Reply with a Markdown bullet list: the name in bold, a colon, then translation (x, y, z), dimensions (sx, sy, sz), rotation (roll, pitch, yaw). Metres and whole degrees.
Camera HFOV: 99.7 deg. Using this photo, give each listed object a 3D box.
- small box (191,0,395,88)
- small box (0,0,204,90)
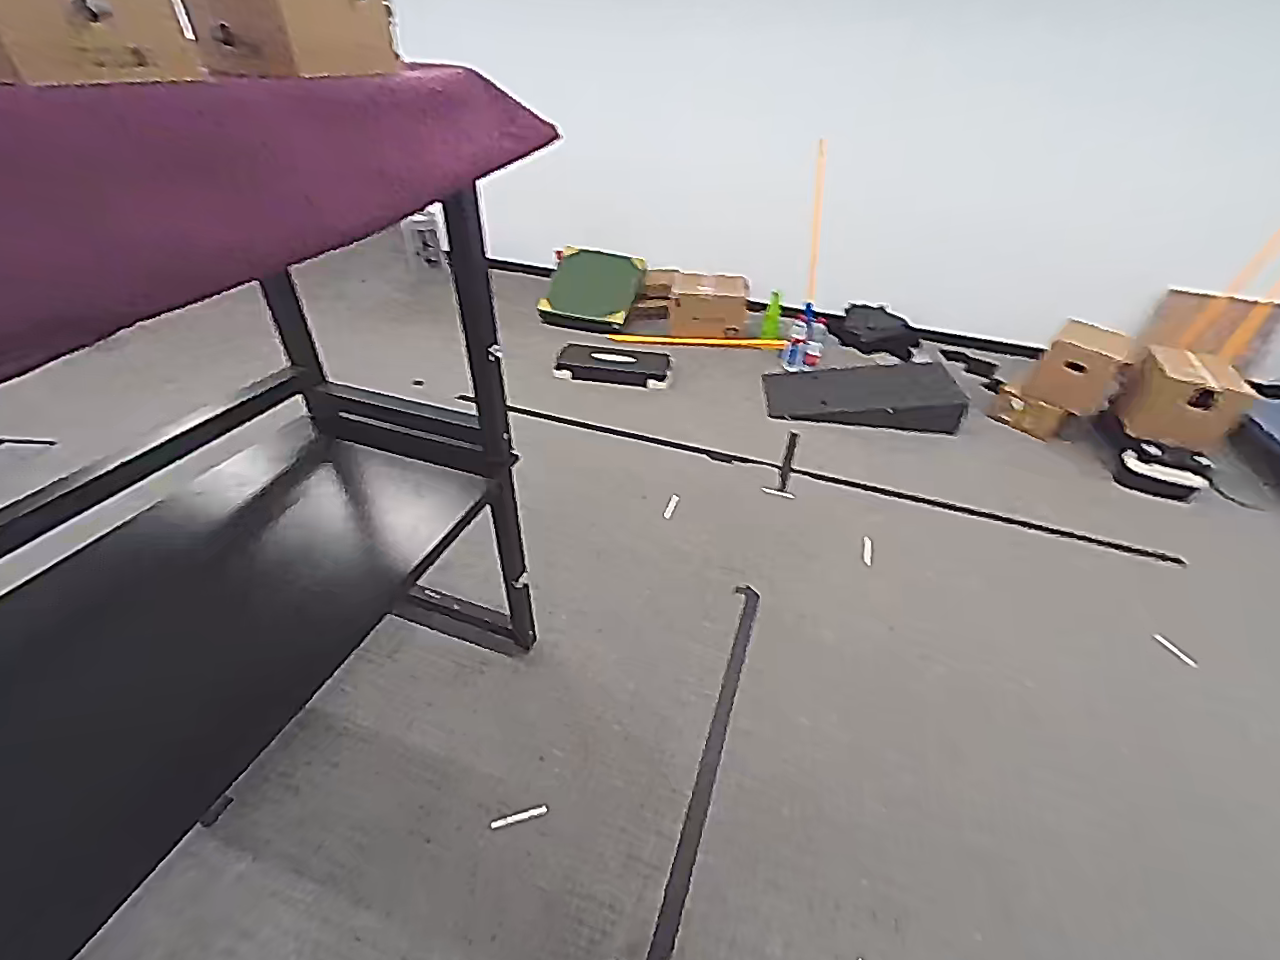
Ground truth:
- **small box**: translation (-0.436, -0.604, 0.677), dimensions (0.168, 0.176, 0.179), rotation (15, 41, 17)
- **small box**: translation (-0.549, -0.449, 0.471), dimensions (0.179, 0.176, 0.168), rotation (13, 40, 13)
